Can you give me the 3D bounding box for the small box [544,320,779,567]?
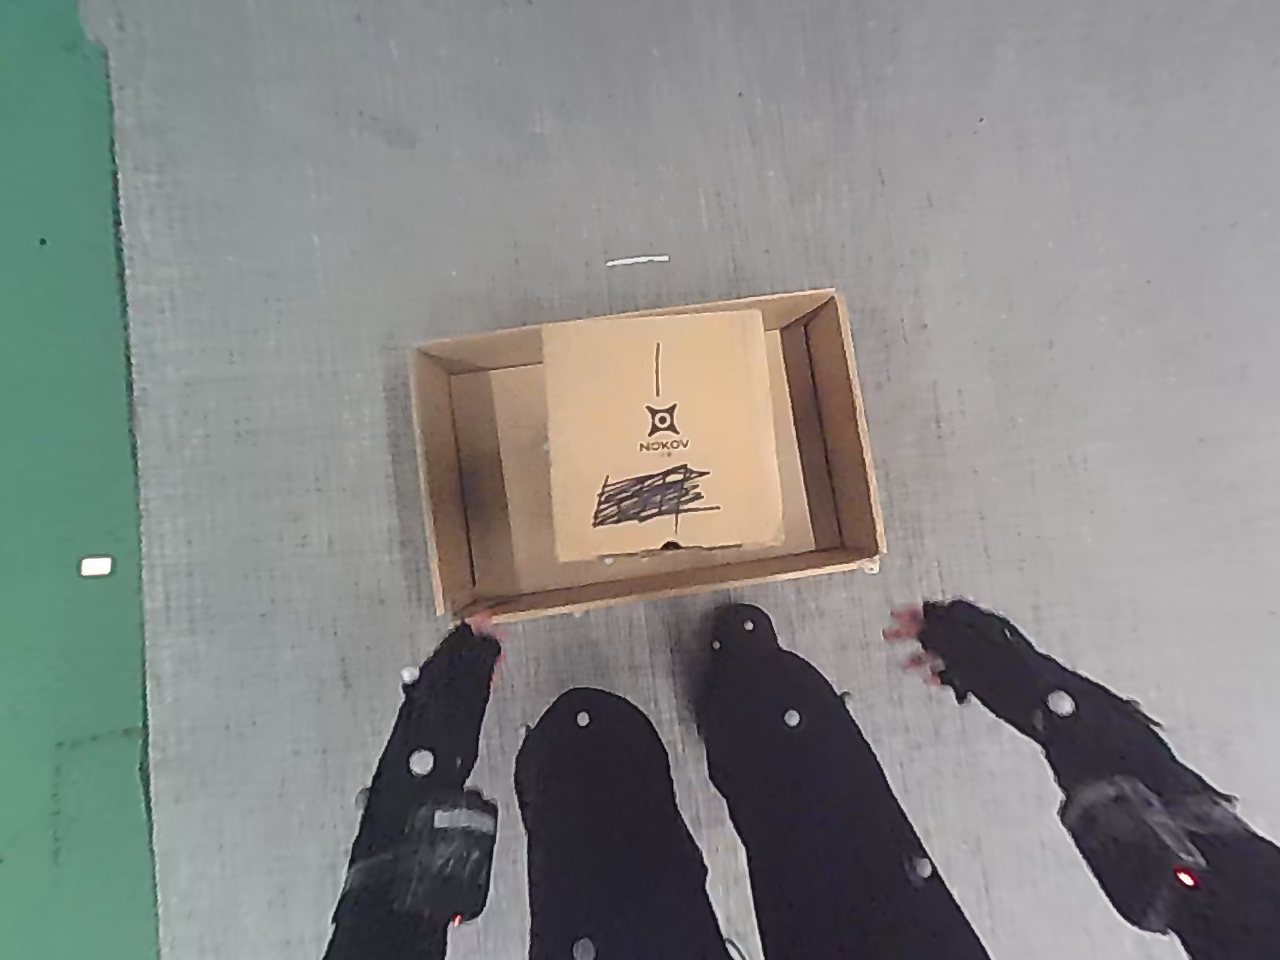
[{"bbox_3d":[0.014,-0.022,0.475,0.168,0.176,0.179,-4,84,-2],"label":"small box"}]
